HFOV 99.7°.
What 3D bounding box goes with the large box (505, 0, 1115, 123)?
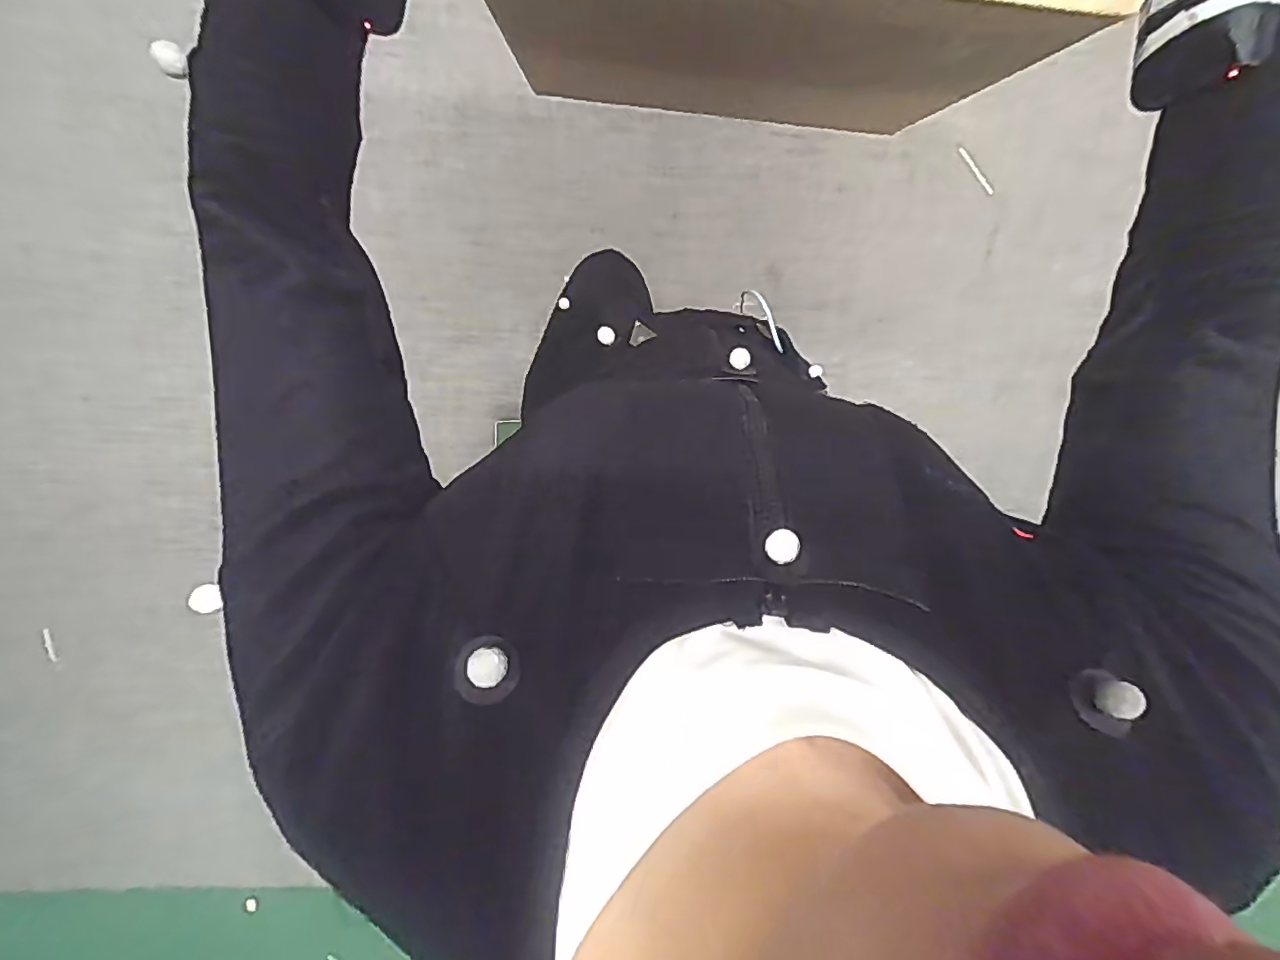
[{"bbox_3d":[0.103,-0.496,0.405,0.408,0.320,0.320,3,112,-4],"label":"large box"}]
